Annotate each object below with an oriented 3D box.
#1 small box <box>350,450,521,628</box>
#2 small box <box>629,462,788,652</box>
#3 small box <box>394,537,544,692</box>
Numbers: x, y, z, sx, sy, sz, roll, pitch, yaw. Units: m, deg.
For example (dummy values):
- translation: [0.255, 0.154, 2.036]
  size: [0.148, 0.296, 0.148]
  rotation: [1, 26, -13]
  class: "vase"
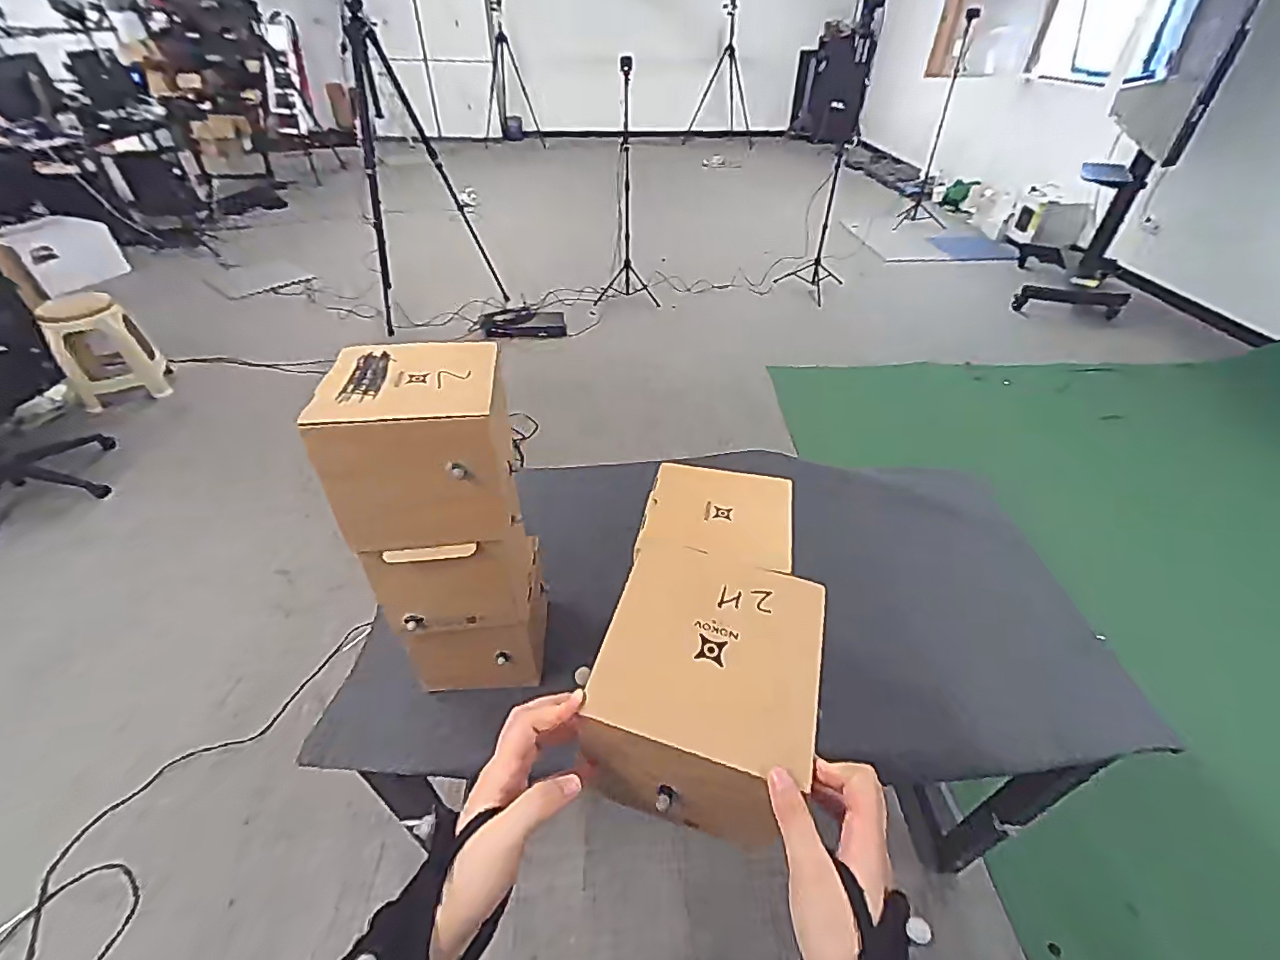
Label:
- translation: [-0.255, 0.082, 0.725]
  size: [0.168, 0.176, 0.179]
  rotation: [-5, 39, -7]
  class: "small box"
- translation: [0.089, 0.101, 0.703]
  size: [0.179, 0.176, 0.168]
  rotation: [7, 40, 10]
  class: "small box"
- translation: [-0.246, 0.207, 0.832]
  size: [0.179, 0.176, 0.168]
  rotation: [-3, 39, -3]
  class: "small box"
